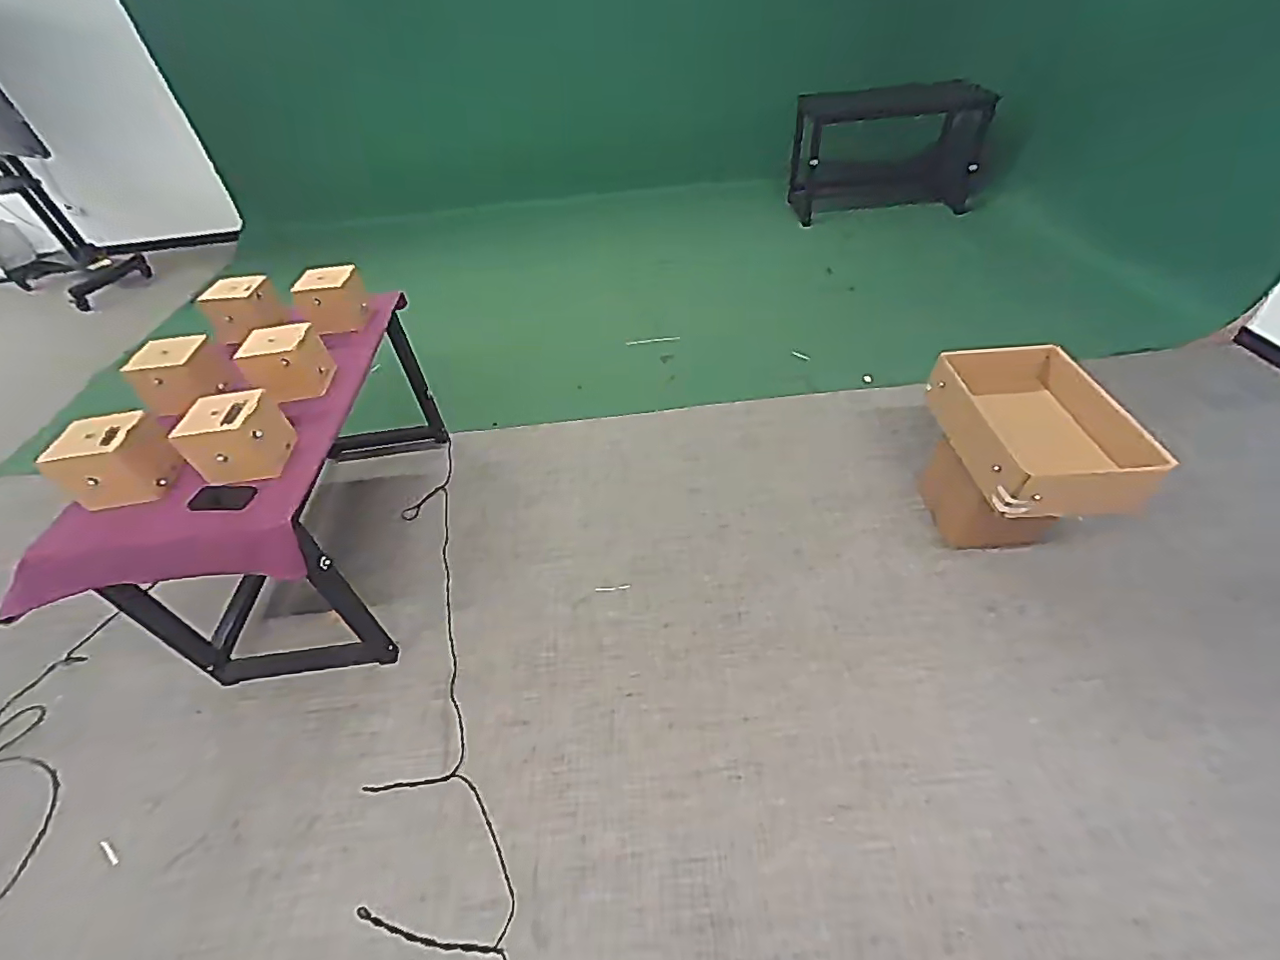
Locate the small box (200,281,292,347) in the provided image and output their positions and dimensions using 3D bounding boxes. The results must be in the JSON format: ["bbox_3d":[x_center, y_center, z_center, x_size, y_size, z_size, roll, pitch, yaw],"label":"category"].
[{"bbox_3d":[-1.402,-0.591,1.936,0.179,0.176,0.168,-6,45,1],"label":"small box"}]

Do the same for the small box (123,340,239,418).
[{"bbox_3d":[-1.383,-0.302,1.643,0.179,0.176,0.168,-7,45,-2],"label":"small box"}]

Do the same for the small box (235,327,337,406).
[{"bbox_3d":[-1.067,-0.342,1.647,0.179,0.176,0.168,-9,44,-2],"label":"small box"}]

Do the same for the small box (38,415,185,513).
[{"bbox_3d":[-1.315,-0.038,1.366,0.179,0.176,0.168,-10,44,-3],"label":"small box"}]

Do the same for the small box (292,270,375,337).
[{"bbox_3d":[-1.086,-0.625,1.930,0.179,0.176,0.168,-6,46,1],"label":"small box"}]
